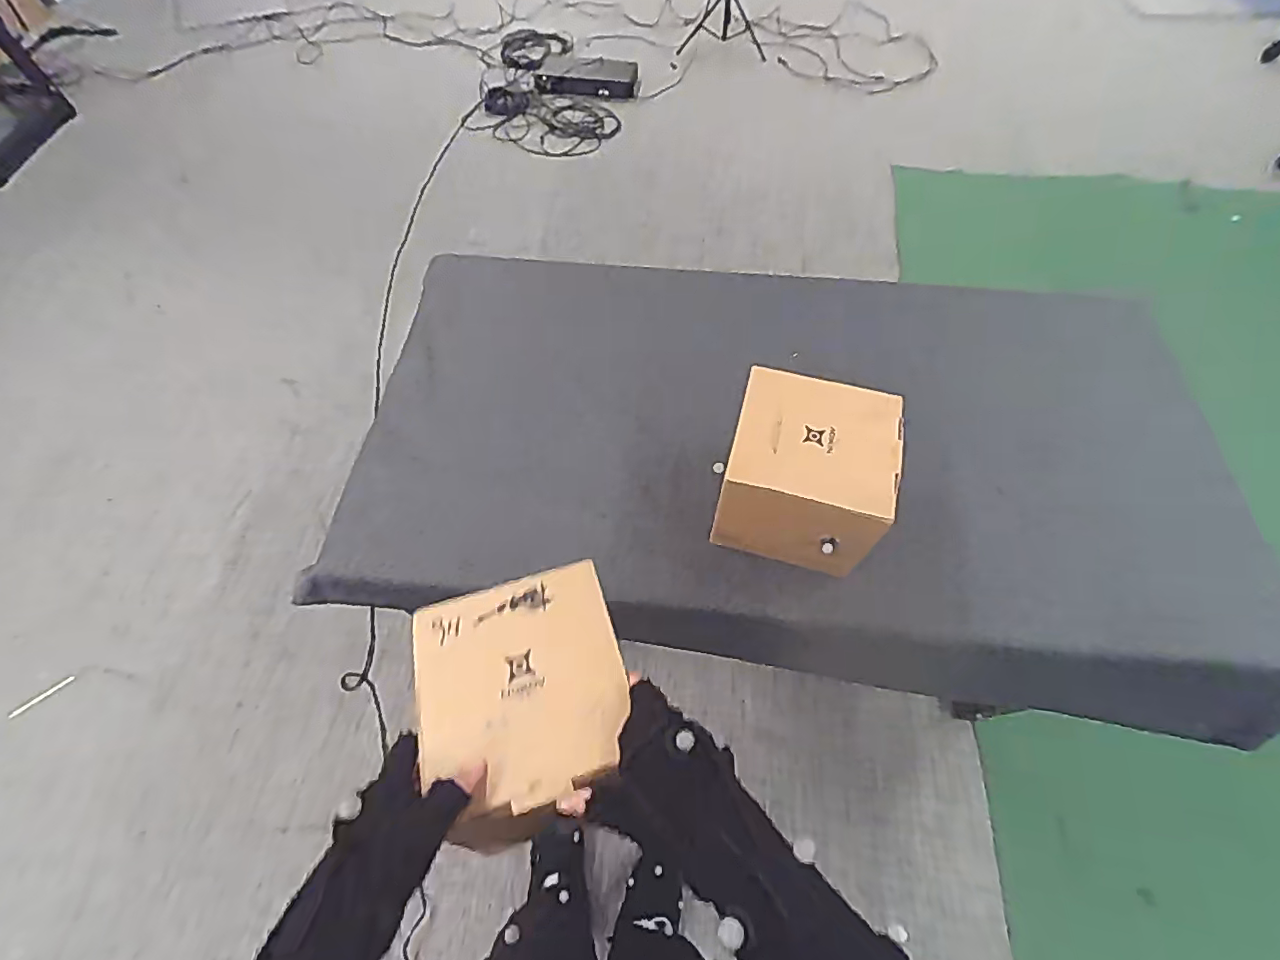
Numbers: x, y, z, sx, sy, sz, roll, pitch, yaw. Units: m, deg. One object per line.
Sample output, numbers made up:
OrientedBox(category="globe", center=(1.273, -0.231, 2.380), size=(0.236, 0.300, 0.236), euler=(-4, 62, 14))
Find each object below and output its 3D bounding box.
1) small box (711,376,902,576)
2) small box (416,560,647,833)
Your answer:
OrientedBox(category="small box", center=(0.195, 0.003, 0.665), size=(0.179, 0.176, 0.168), euler=(14, 61, 9))
OrientedBox(category="small box", center=(-0.093, 0.206, 0.502), size=(0.168, 0.176, 0.179), euler=(-14, 53, -9))
